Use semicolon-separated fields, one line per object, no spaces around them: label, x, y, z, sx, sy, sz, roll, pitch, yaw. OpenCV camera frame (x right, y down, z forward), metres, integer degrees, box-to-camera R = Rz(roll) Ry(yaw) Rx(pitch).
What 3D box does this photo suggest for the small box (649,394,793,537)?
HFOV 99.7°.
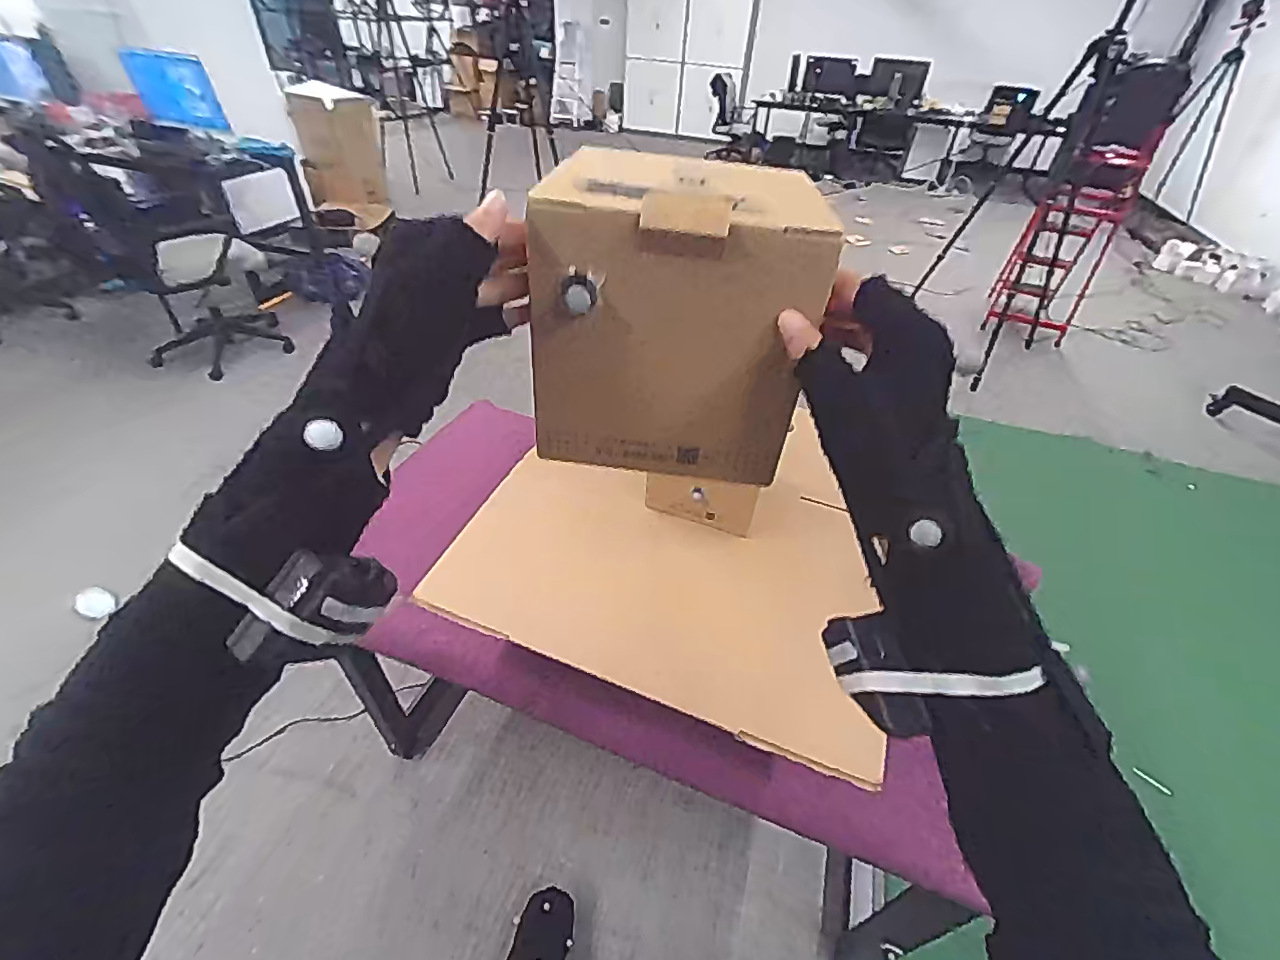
small box;0.120;-0.046;0.827;0.168;0.176;0.179;17;41;15
